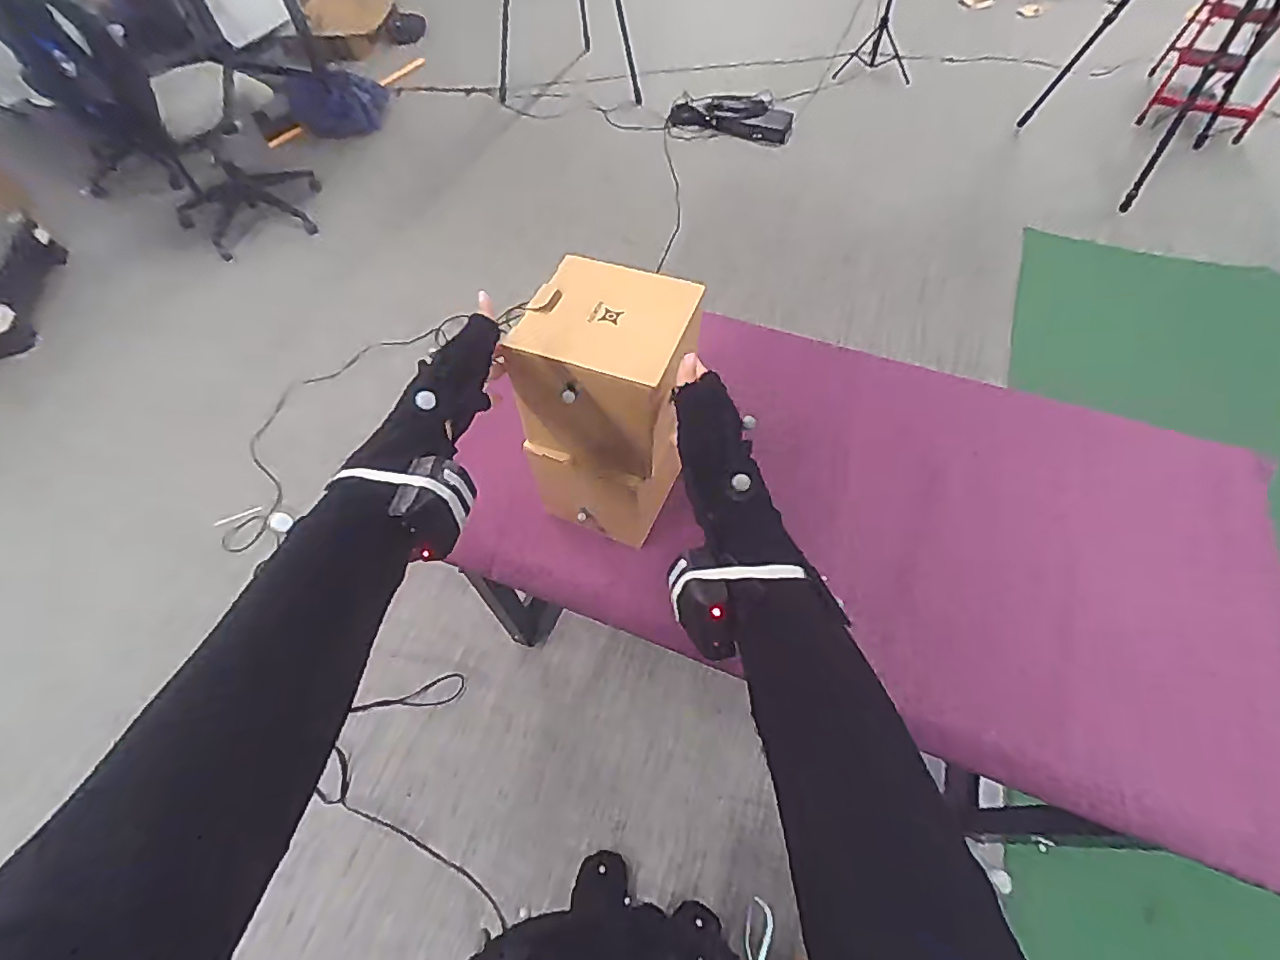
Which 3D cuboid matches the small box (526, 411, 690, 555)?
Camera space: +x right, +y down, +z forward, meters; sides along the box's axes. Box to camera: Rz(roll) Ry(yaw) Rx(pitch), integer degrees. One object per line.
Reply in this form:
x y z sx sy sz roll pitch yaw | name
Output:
-0.041 -0.022 0.788 0.168 0.176 0.179 22 59 14 | small box

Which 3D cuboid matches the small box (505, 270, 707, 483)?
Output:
-0.032 -0.119 0.657 0.179 0.176 0.168 18 58 12 | small box
